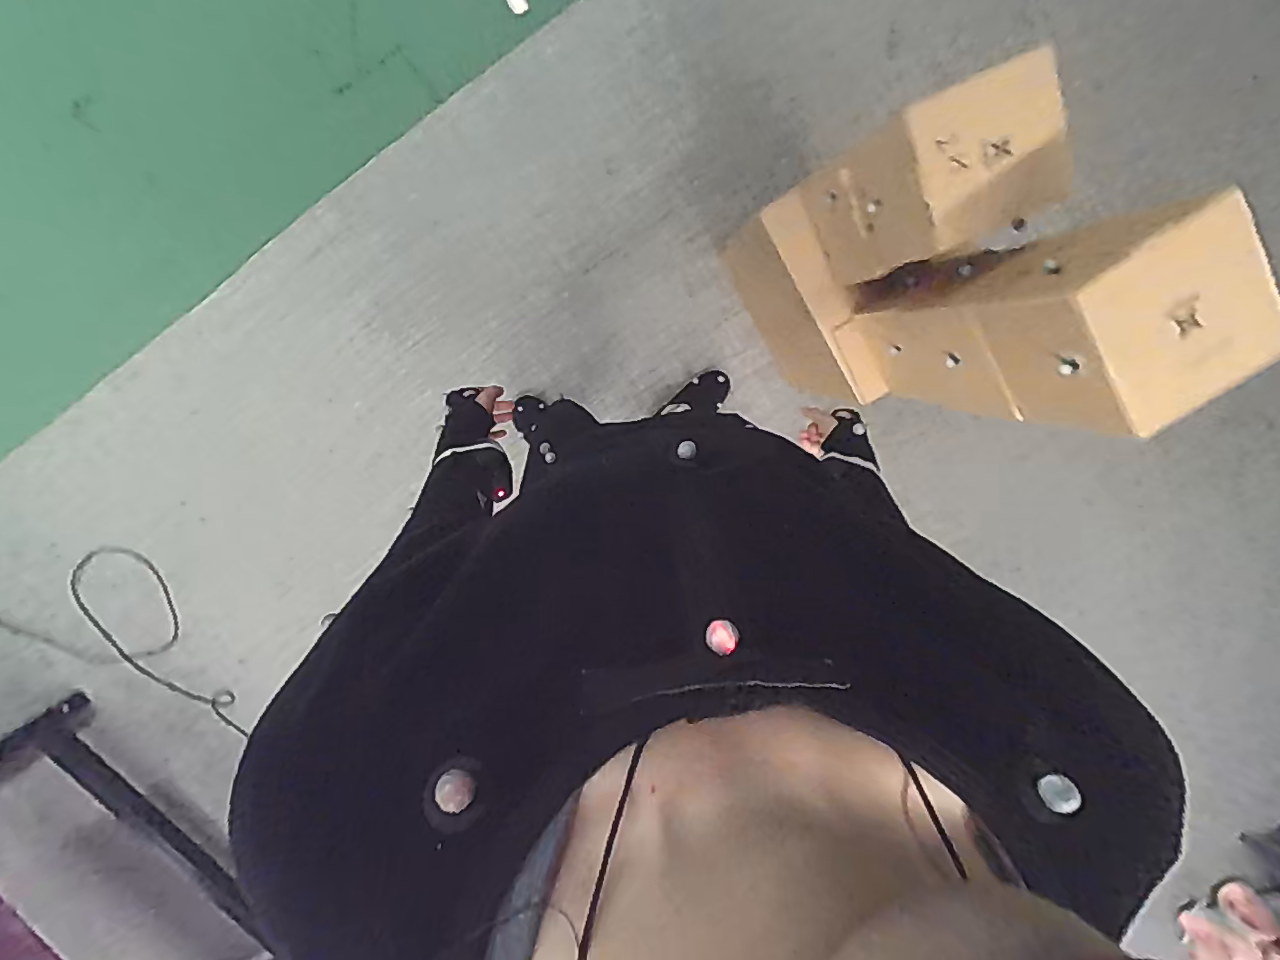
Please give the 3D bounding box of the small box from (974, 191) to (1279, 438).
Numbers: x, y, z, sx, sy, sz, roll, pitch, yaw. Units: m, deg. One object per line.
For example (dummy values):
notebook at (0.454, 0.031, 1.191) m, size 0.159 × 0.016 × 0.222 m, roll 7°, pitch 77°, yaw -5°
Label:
small box at (0.516, -0.171, 0.595) m, size 0.168 × 0.176 × 0.179 m, roll -33°, pitch 103°, yaw 7°
